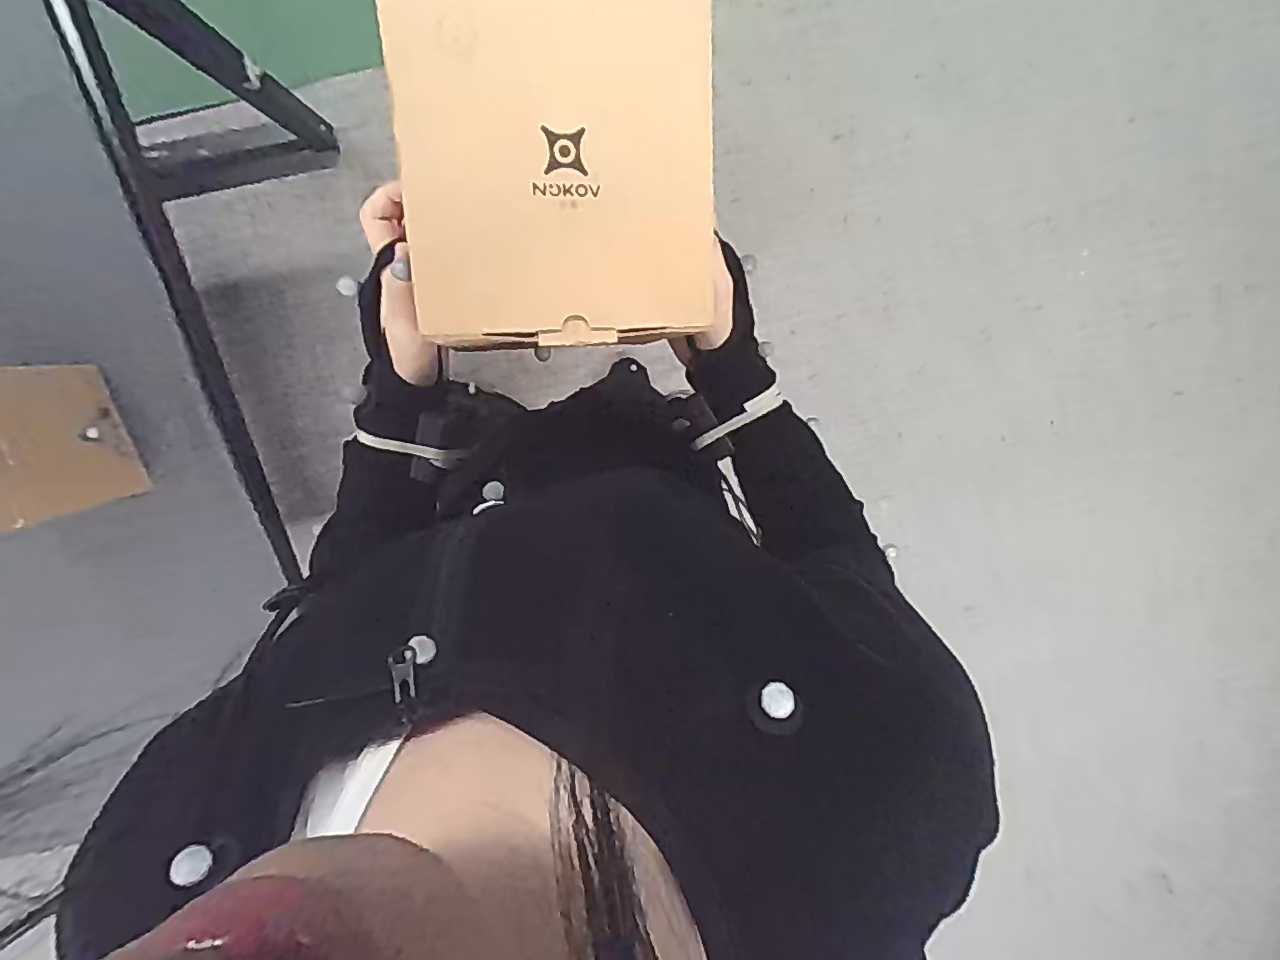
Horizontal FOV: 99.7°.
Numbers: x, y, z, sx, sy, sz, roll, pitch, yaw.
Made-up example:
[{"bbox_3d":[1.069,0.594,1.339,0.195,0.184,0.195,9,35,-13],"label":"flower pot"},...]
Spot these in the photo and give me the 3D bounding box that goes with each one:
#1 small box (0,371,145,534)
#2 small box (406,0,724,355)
[{"bbox_3d":[-0.747,-0.025,0.621,0.179,0.176,0.168,-13,104,0],"label":"small box"},{"bbox_3d":[-0.052,-0.178,0.367,0.168,0.176,0.179,-5,103,-13],"label":"small box"}]
